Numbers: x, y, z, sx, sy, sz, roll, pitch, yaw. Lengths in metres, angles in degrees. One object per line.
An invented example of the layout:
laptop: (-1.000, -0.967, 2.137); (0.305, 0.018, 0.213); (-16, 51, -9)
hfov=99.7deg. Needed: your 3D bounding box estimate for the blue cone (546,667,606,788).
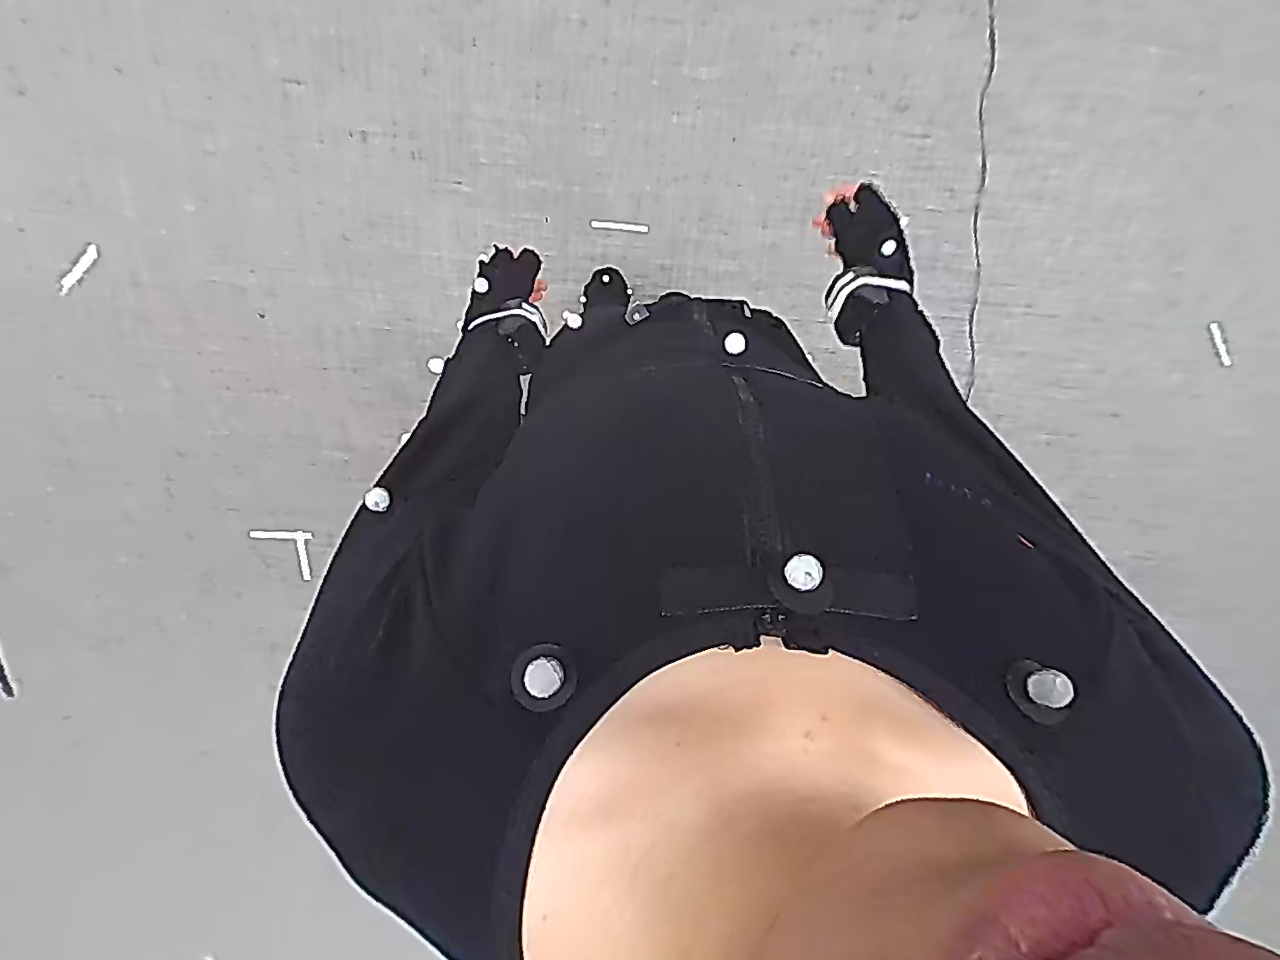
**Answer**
blue cone: (-0.204, 0.732, 1.585); (0.192, 0.380, 0.193); (1, 108, -1)
